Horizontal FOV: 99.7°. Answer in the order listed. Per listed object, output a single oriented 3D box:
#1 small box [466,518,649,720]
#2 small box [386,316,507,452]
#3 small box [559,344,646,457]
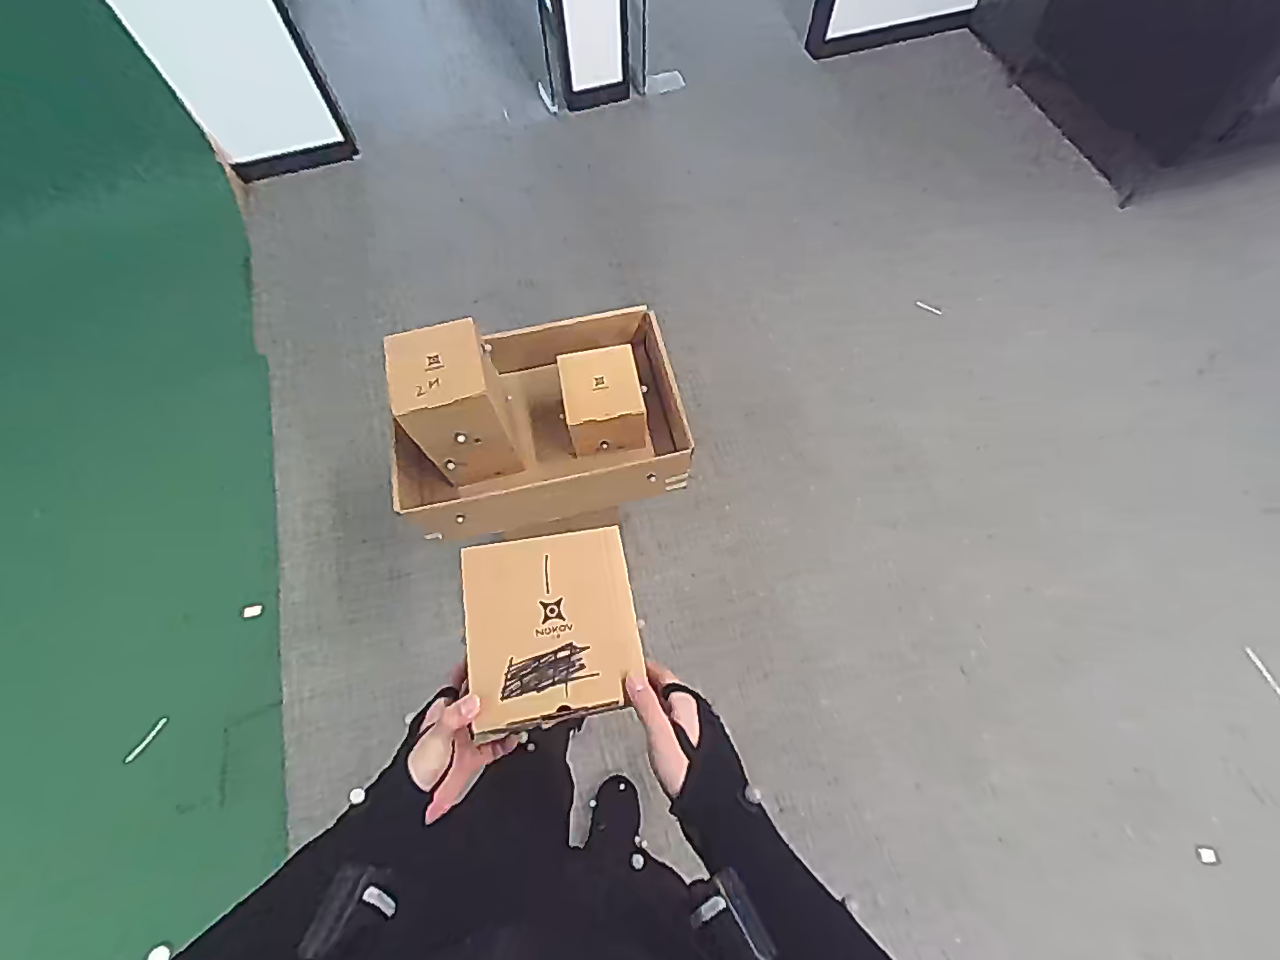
[{"bbox_3d":[-0.092,0.161,0.599,0.168,0.176,0.179,-7,65,-11],"label":"small box"},{"bbox_3d":[-0.365,-0.178,1.035,0.168,0.176,0.179,-14,67,-5],"label":"small box"},{"bbox_3d":[-0.084,-0.175,1.214,0.168,0.176,0.179,-10,67,-5],"label":"small box"}]
